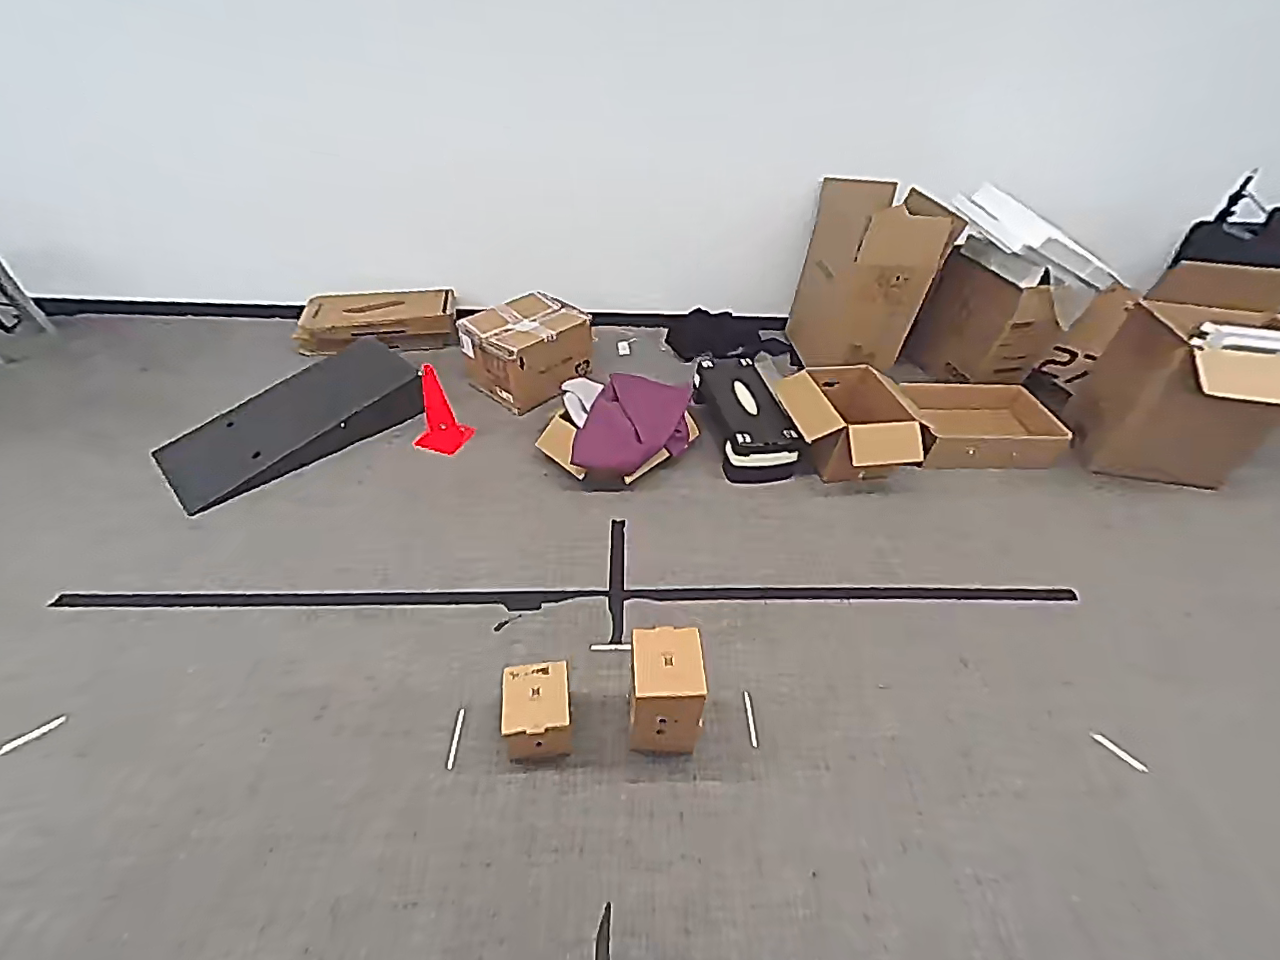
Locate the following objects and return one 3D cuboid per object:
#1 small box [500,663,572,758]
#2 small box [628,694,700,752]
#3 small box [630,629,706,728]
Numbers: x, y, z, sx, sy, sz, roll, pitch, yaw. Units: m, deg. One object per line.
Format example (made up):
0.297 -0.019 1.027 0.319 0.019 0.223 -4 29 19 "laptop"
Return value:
-0.269 0.608 1.416 0.168 0.176 0.179 -4 44 -7 "small box"
0.060 0.608 1.440 0.179 0.176 0.168 4 43 -2 "small box"
0.062 0.488 1.331 0.168 0.176 0.179 -2 44 -4 "small box"
